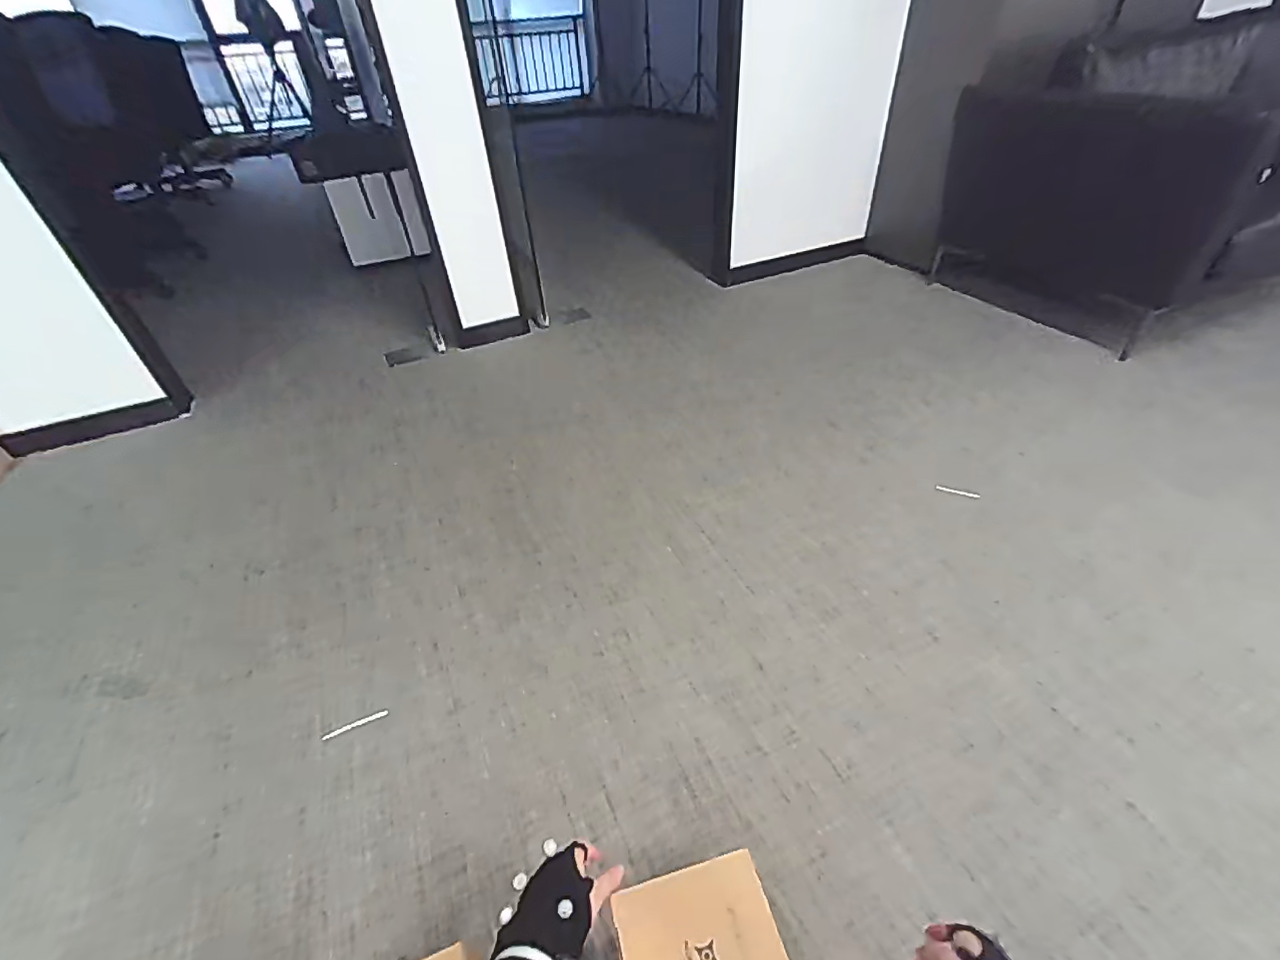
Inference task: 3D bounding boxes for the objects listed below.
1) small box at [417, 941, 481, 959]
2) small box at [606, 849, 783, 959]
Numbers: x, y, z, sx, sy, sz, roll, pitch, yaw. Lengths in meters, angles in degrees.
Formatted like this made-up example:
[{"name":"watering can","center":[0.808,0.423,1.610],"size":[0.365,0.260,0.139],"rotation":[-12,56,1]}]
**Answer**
[{"name":"small box","center":[-0.246,0.645,0.574],"size":[0.179,0.176,0.168],"rotation":[-15,41,-15]},{"name":"small box","center":[0.068,0.574,0.631],"size":[0.179,0.176,0.168],"rotation":[-12,41,-10]}]
